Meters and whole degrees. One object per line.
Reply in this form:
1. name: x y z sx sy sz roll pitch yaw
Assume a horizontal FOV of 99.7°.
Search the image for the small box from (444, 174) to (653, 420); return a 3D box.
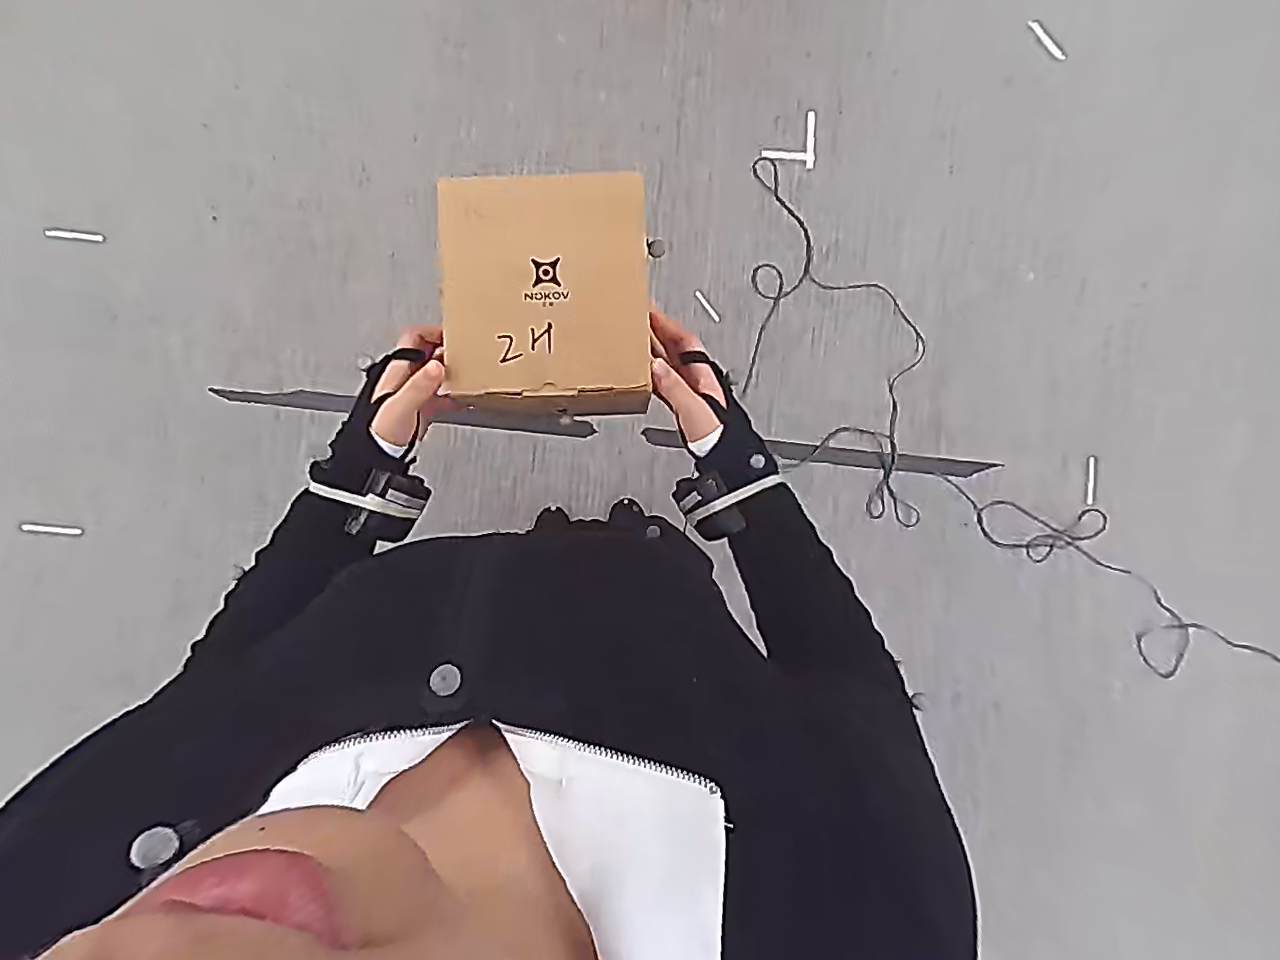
1. small box: -0.075 -0.155 0.509 0.168 0.176 0.179 -2 90 -1
